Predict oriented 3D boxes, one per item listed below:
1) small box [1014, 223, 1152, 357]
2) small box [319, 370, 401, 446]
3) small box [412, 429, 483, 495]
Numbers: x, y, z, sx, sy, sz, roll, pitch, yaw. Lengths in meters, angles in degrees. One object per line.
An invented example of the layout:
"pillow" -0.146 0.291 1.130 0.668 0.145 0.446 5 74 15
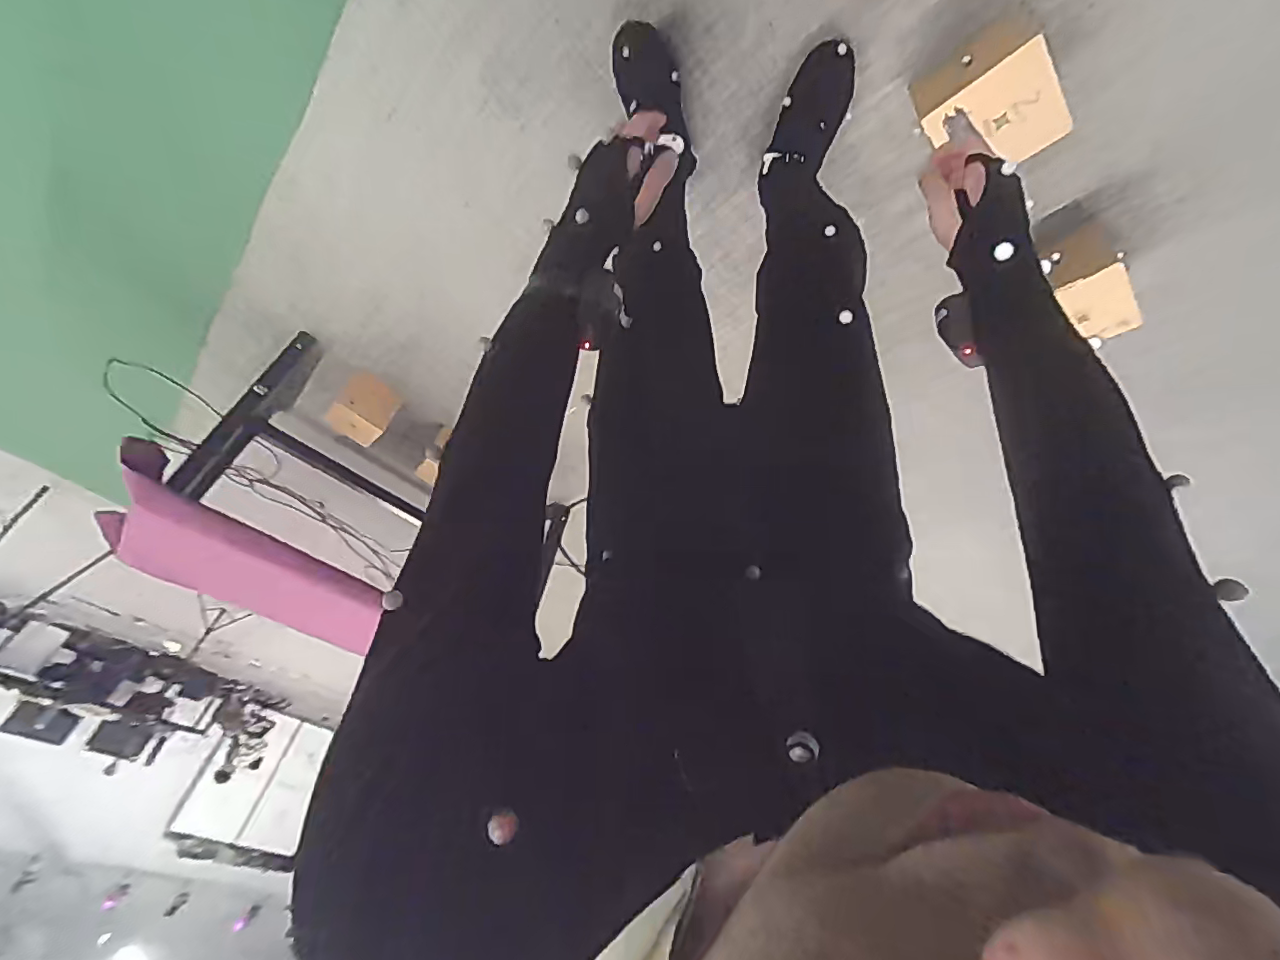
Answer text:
"small box" 0.908 -0.397 1.119 0.168 0.176 0.179 -24 129 40
"small box" -0.984 -0.255 1.912 0.168 0.176 0.179 -24 129 40
"small box" -0.734 -0.075 2.067 0.179 0.176 0.168 32 140 -25
